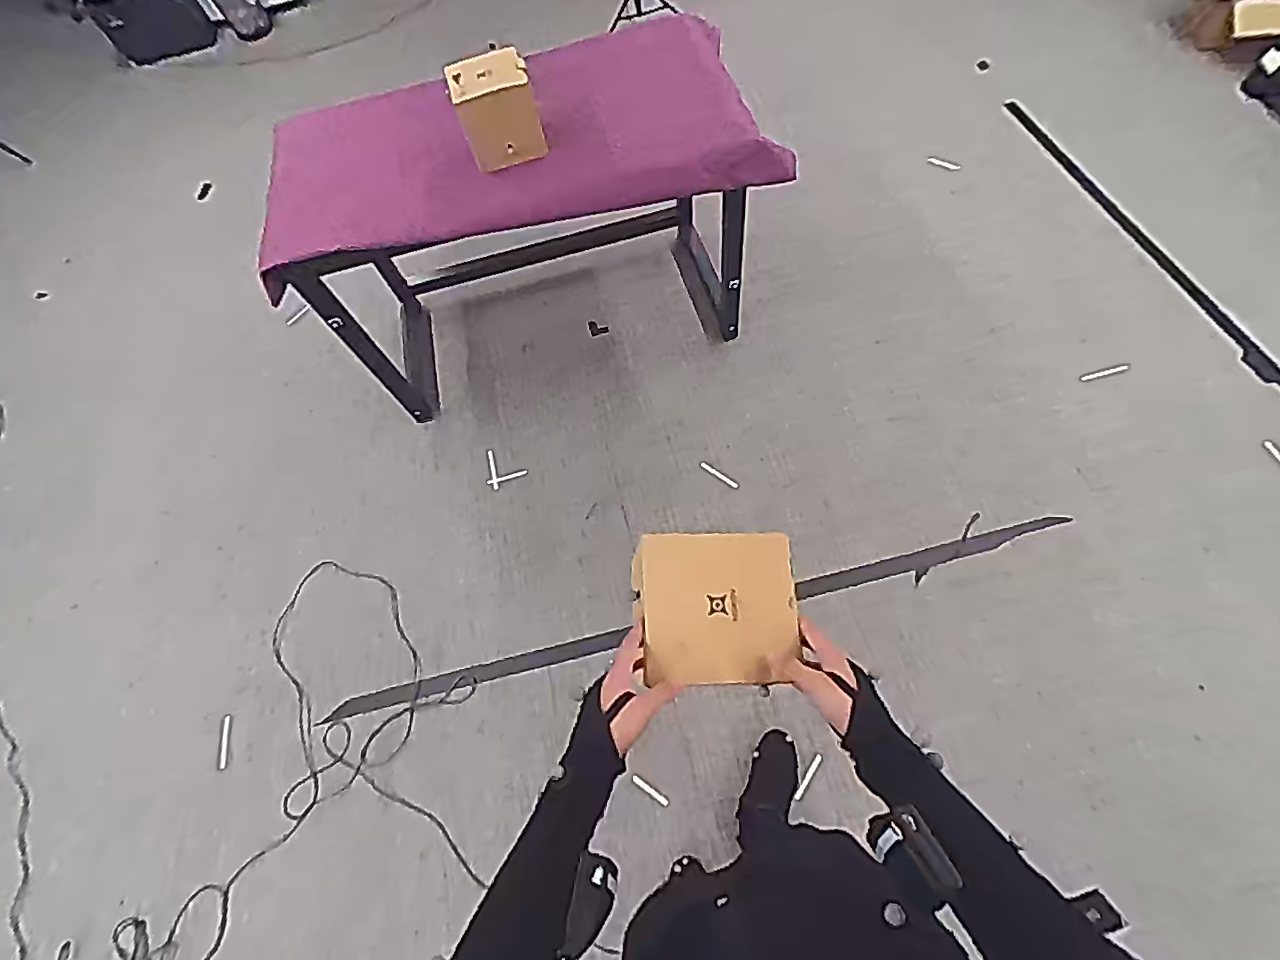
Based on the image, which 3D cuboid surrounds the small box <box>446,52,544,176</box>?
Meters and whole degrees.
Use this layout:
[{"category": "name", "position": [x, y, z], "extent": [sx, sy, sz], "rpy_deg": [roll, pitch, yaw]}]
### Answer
[{"category": "small box", "position": [-0.339, -0.869, 1.292], "extent": [0.179, 0.176, 0.168], "rpy_deg": [-17, 62, -2]}]

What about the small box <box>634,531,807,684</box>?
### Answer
[{"category": "small box", "position": [0.083, 0.163, 0.668], "extent": [0.179, 0.176, 0.168], "rpy_deg": [0, 70, -6]}]
